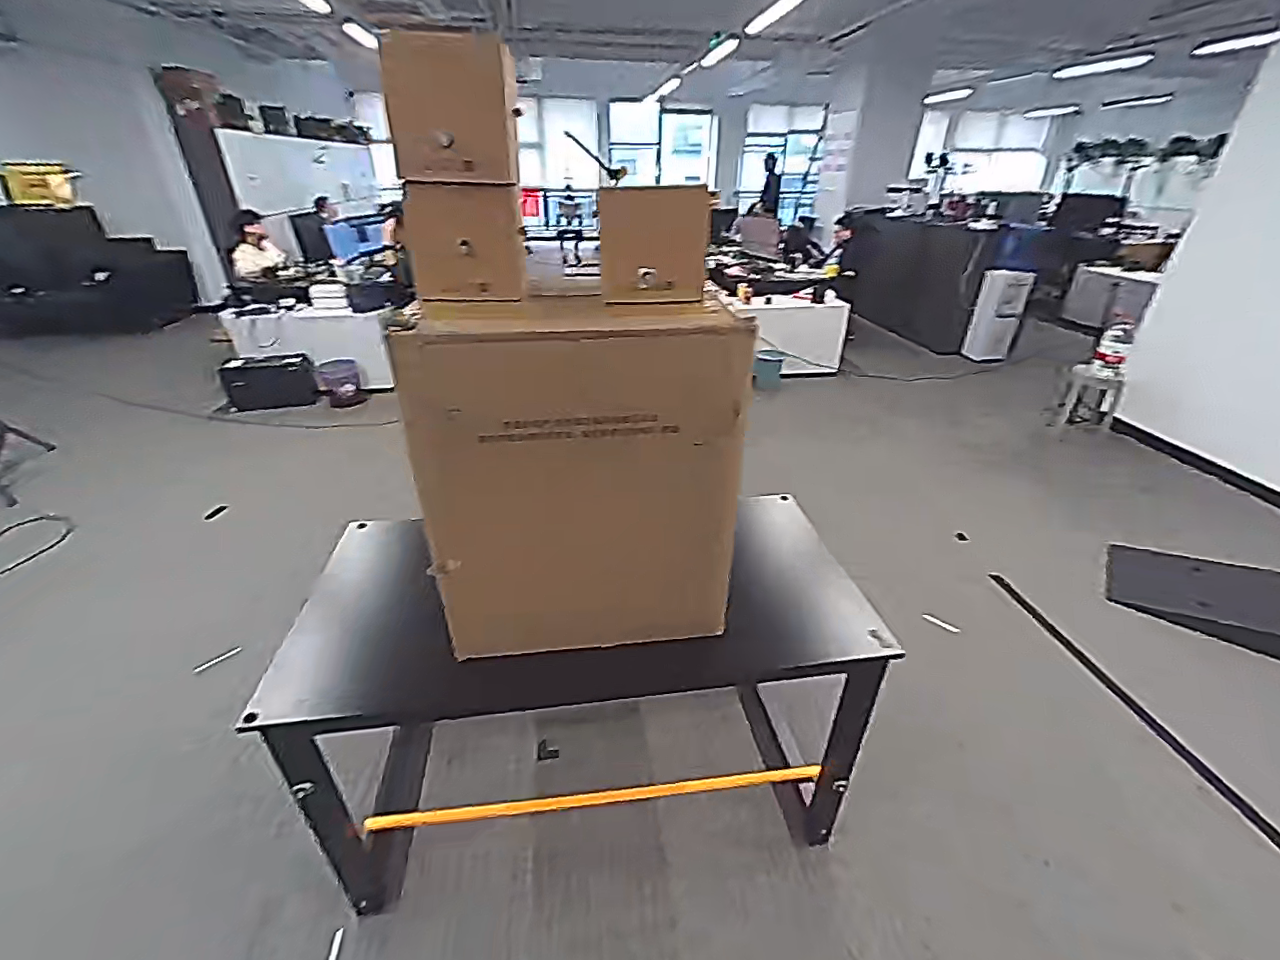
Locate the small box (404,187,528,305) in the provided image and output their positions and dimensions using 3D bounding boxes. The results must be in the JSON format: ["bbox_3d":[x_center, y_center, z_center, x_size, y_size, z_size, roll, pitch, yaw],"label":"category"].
[{"bbox_3d":[-0.278,-0.394,0.907,0.168,0.176,0.179,-2,30,-8],"label":"small box"}]

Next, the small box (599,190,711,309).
[{"bbox_3d":[0.018,-0.390,0.909,0.168,0.176,0.179,-4,30,-5],"label":"small box"}]

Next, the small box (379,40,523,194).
[{"bbox_3d":[-0.268,-0.531,0.812,0.168,0.176,0.179,-2,30,-7],"label":"small box"}]
